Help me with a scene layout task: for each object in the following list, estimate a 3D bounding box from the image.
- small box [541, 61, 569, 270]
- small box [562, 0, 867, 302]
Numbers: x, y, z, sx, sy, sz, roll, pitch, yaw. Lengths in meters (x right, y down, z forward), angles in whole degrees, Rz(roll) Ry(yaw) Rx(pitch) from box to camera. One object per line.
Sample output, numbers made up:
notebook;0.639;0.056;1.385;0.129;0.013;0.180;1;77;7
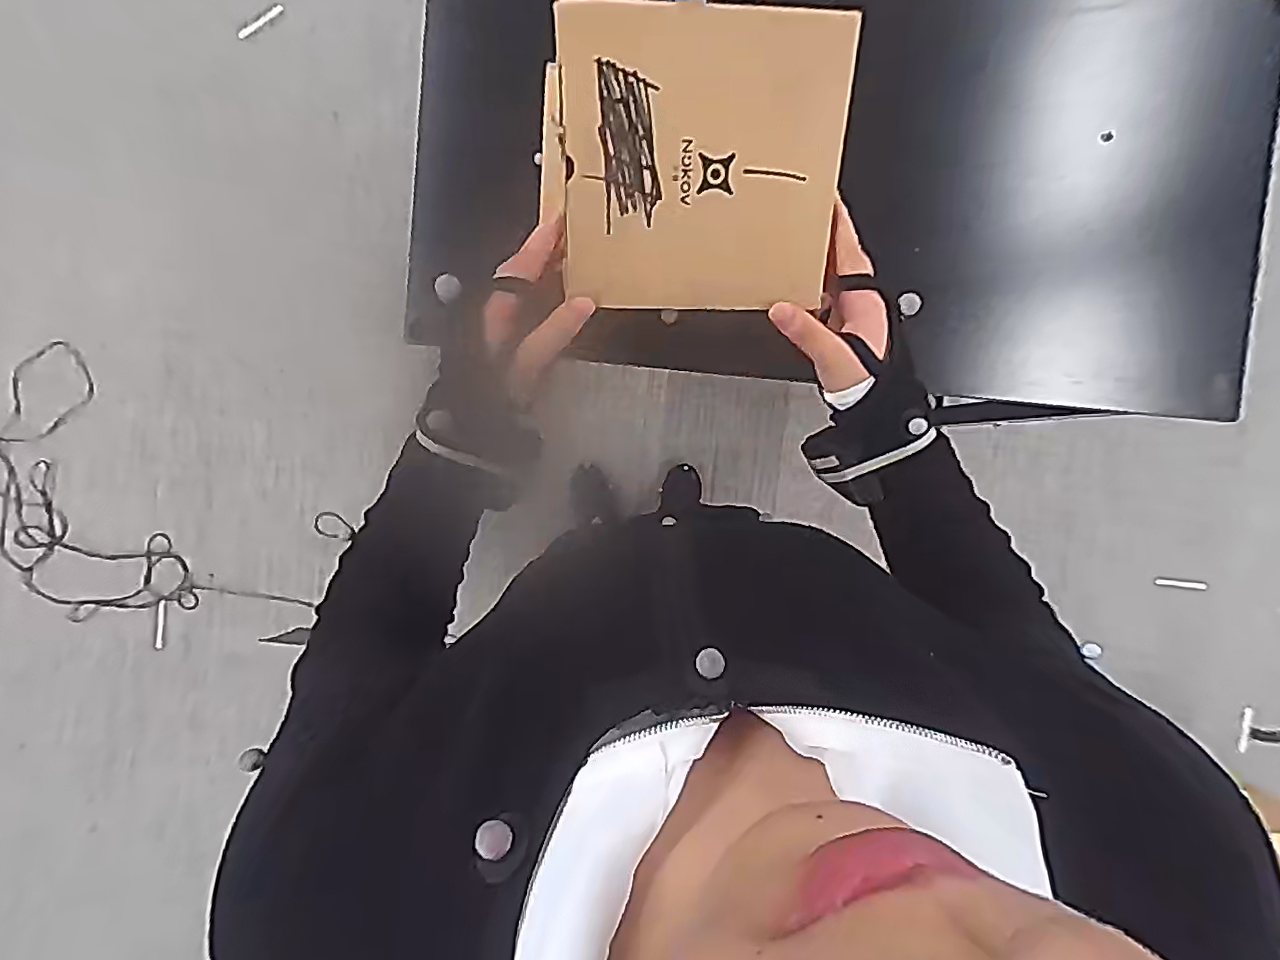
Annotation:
small box;-0.025;-0.365;0.668;0.168;0.176;0.179;2;94;-1
small box;0.037;-0.228;0.407;0.179;0.176;0.168;-1;114;-5
